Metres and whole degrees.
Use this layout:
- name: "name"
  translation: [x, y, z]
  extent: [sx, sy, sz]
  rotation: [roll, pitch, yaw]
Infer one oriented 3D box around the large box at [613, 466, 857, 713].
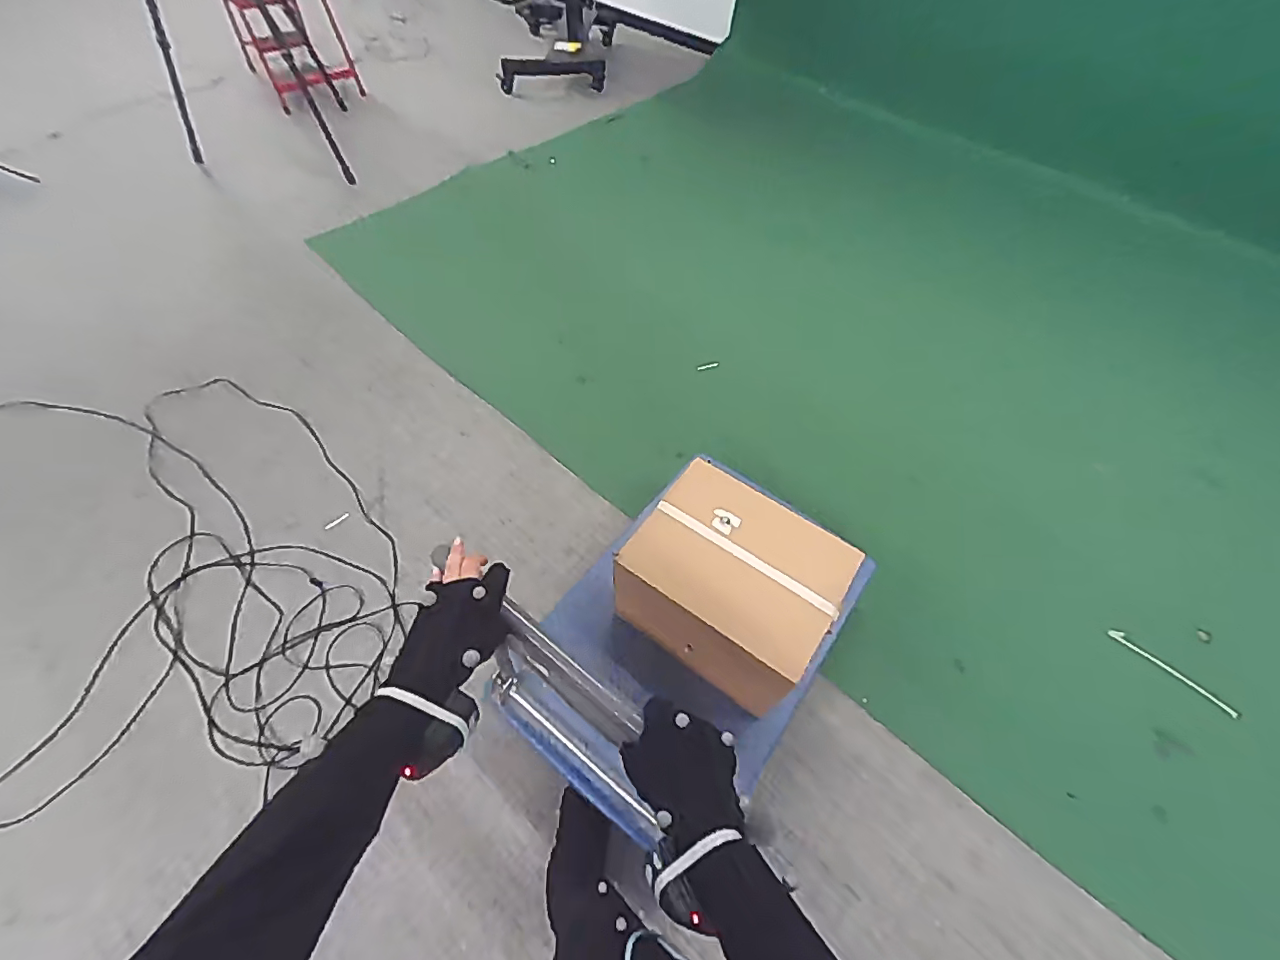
- name: "large box"
  translation: [0.193, 0.246, 1.207]
  extent: [0.408, 0.320, 0.320]
  rotation: [31, 60, 18]
